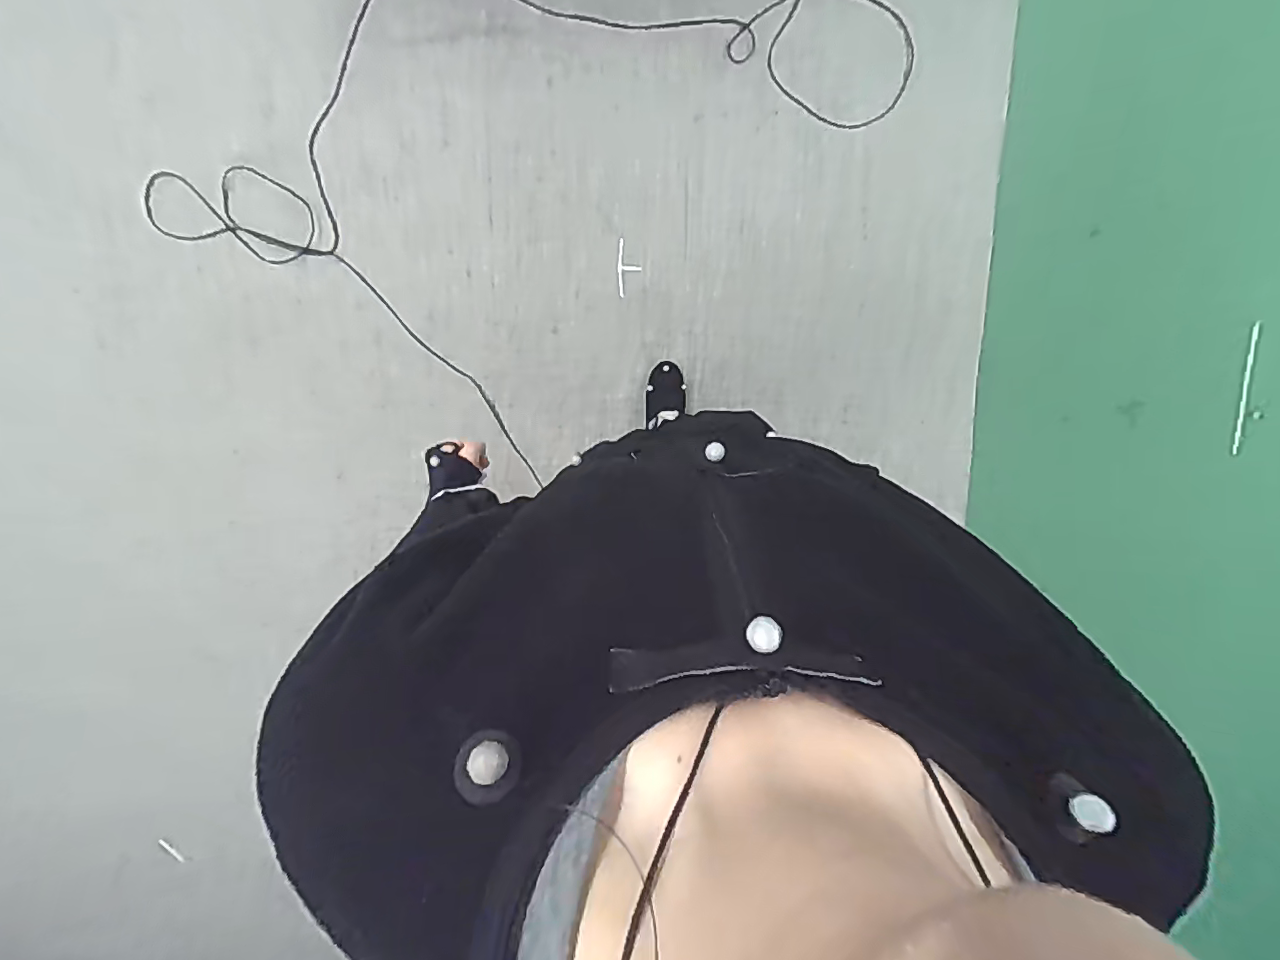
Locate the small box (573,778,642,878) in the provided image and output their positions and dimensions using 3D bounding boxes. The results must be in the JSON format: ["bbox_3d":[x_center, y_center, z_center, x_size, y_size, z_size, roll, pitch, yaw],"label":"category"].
[{"bbox_3d":[-0.090,0.941,1.474,0.179,0.176,0.168,1,96,-4],"label":"small box"}]
